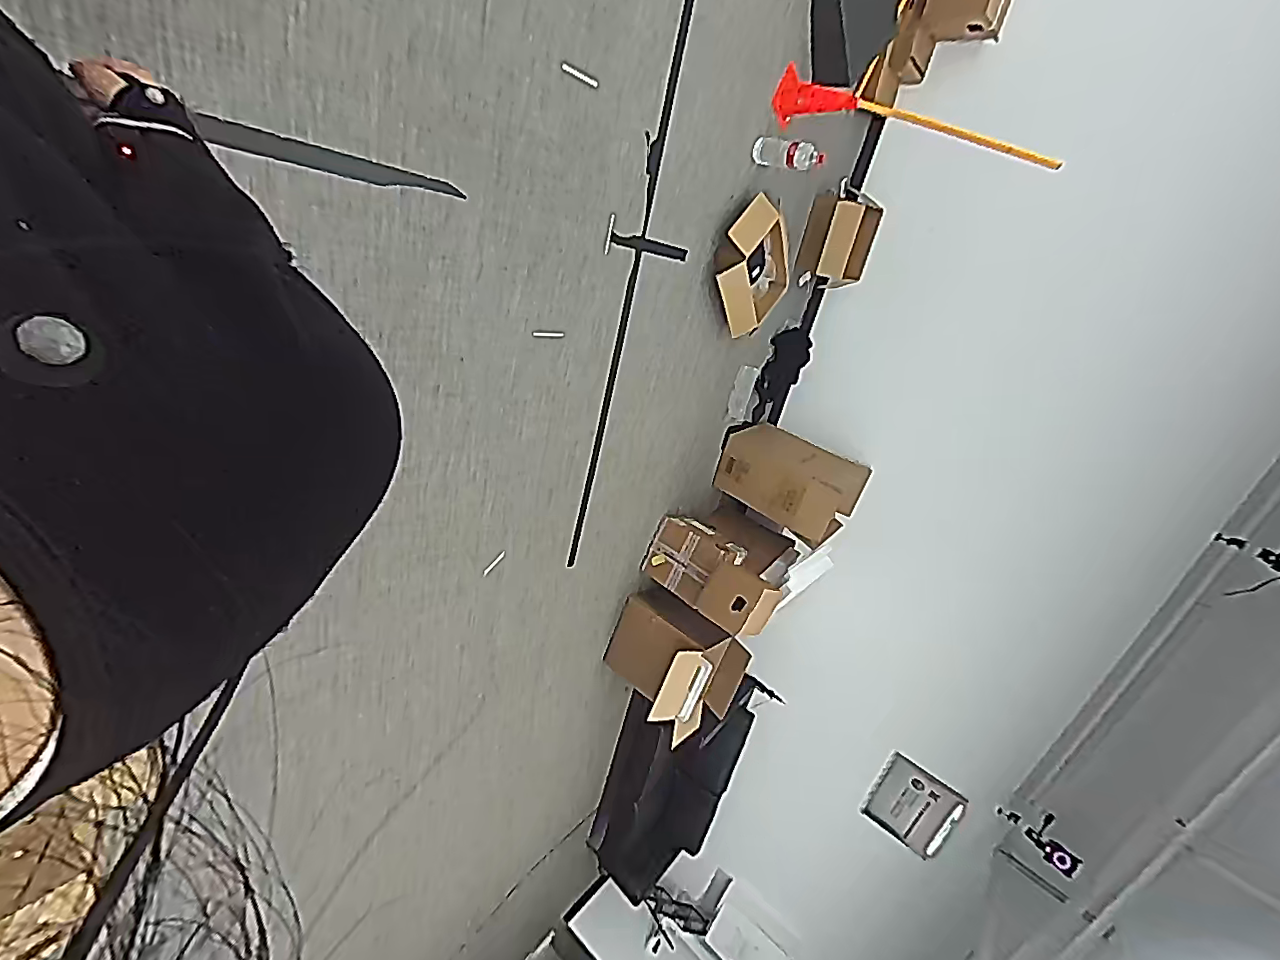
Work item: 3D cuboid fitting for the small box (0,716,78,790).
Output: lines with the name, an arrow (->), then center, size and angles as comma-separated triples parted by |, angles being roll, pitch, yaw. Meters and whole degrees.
small box -> -1.433, 0.672, 1.231 | 0.168, 0.176, 0.179 | -21, 132, -47

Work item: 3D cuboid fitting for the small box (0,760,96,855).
small box -> -1.310, 0.744, 1.151 | 0.168, 0.176, 0.179 | -23, 134, -46

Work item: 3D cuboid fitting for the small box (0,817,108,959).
small box -> -1.192, 0.816, 1.060 | 0.168, 0.176, 0.179 | -23, 132, -46
